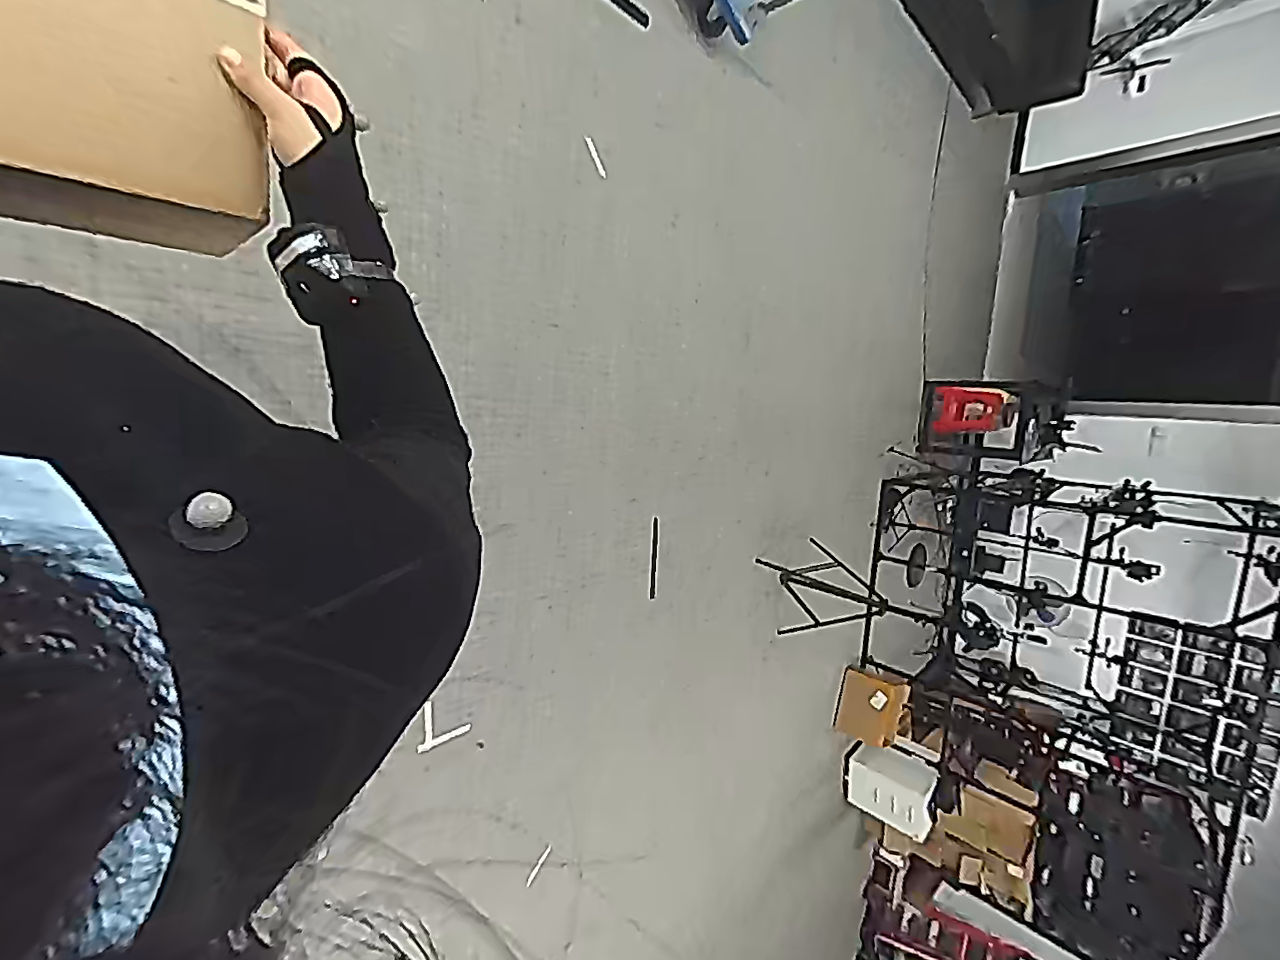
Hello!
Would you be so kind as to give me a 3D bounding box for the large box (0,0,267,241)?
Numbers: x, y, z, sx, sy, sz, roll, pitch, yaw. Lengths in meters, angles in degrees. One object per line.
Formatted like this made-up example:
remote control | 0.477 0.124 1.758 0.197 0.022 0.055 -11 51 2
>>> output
large box | -0.543 -0.389 0.394 0.408 0.320 0.320 -5 104 -43
